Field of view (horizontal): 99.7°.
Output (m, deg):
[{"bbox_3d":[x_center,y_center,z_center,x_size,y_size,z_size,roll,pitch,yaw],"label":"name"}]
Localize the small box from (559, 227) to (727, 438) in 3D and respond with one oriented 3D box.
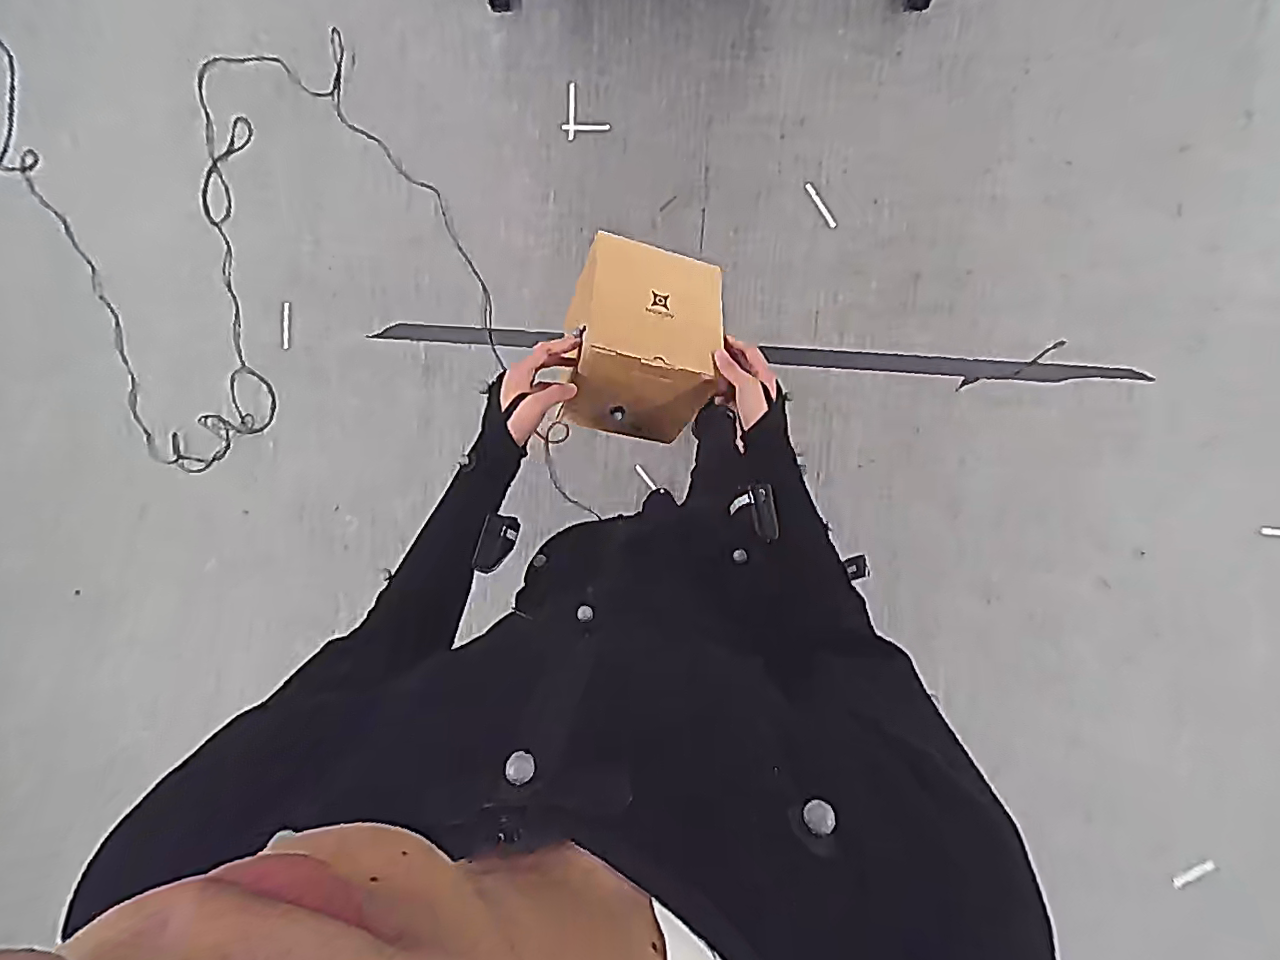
[{"bbox_3d":[-0.004,-0.178,0.696,0.168,0.176,0.179,9,65,-18],"label":"small box"}]
